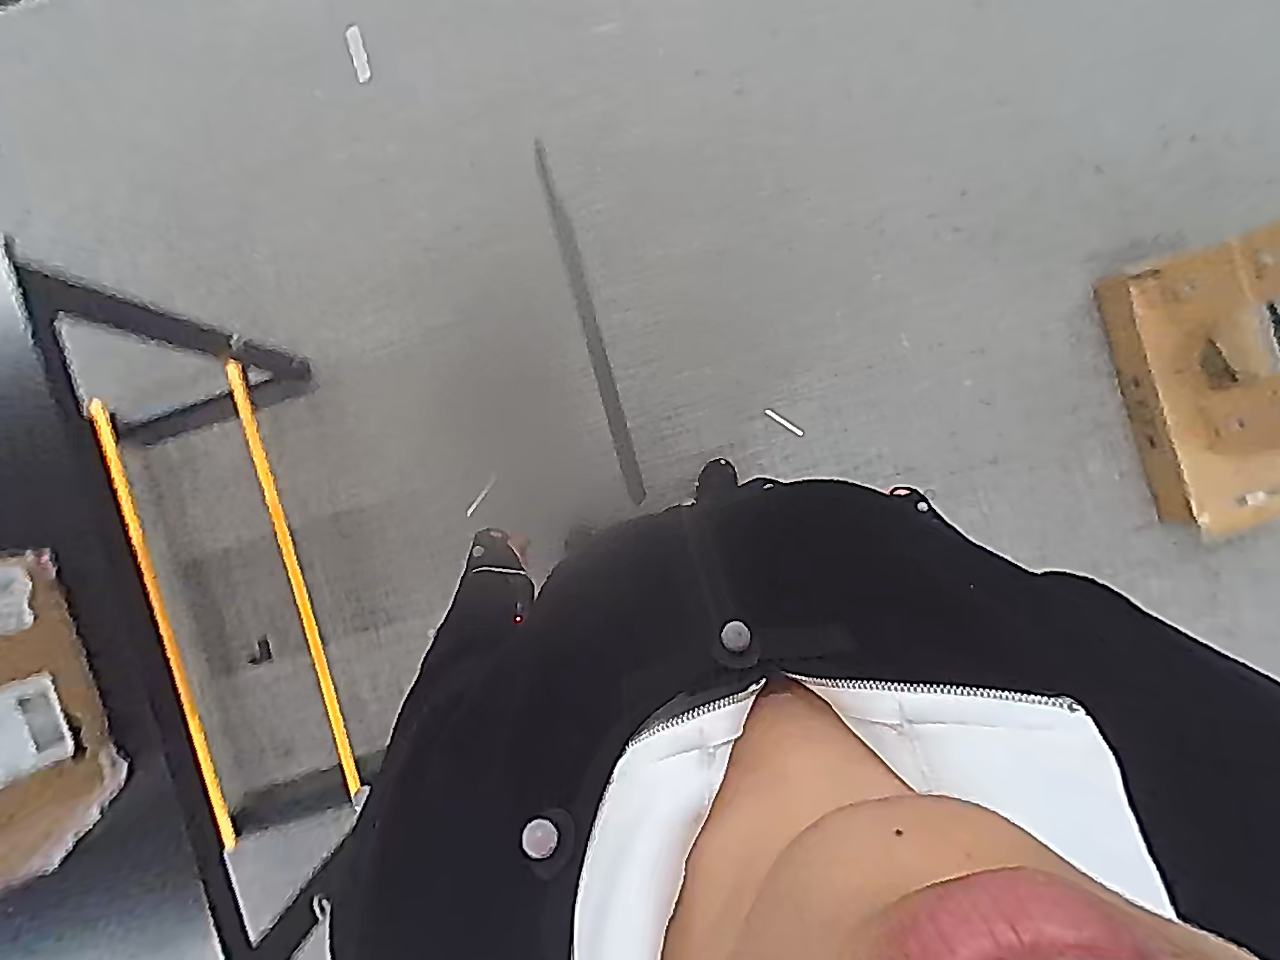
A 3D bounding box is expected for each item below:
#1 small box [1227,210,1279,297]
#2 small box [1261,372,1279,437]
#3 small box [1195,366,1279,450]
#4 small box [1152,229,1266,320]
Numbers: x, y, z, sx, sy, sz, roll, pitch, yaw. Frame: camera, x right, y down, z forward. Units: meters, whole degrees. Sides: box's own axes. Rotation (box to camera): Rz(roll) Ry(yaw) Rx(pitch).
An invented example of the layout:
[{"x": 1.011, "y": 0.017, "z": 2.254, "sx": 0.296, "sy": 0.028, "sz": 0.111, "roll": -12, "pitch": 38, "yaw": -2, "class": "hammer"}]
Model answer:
[{"x": 1.443, "y": -0.516, "z": 1.155, "sx": 0.179, "sy": 0.176, "sz": 0.168, "roll": -19, "pitch": 91, "yaw": -1, "class": "small box"}, {"x": 1.530, "y": -0.187, "z": 1.161, "sx": 0.179, "sy": 0.176, "sz": 0.168, "roll": -22, "pitch": 89, "yaw": 0, "class": "small box"}, {"x": 1.529, "y": -0.178, "z": 1.324, "sx": 0.179, "sy": 0.176, "sz": 0.168, "roll": -20, "pitch": 91, "yaw": 0, "class": "small box"}, {"x": 1.425, "y": -0.510, "z": 1.319, "sx": 0.179, "sy": 0.176, "sz": 0.168, "roll": -18, "pitch": 91, "yaw": -1, "class": "small box"}]
